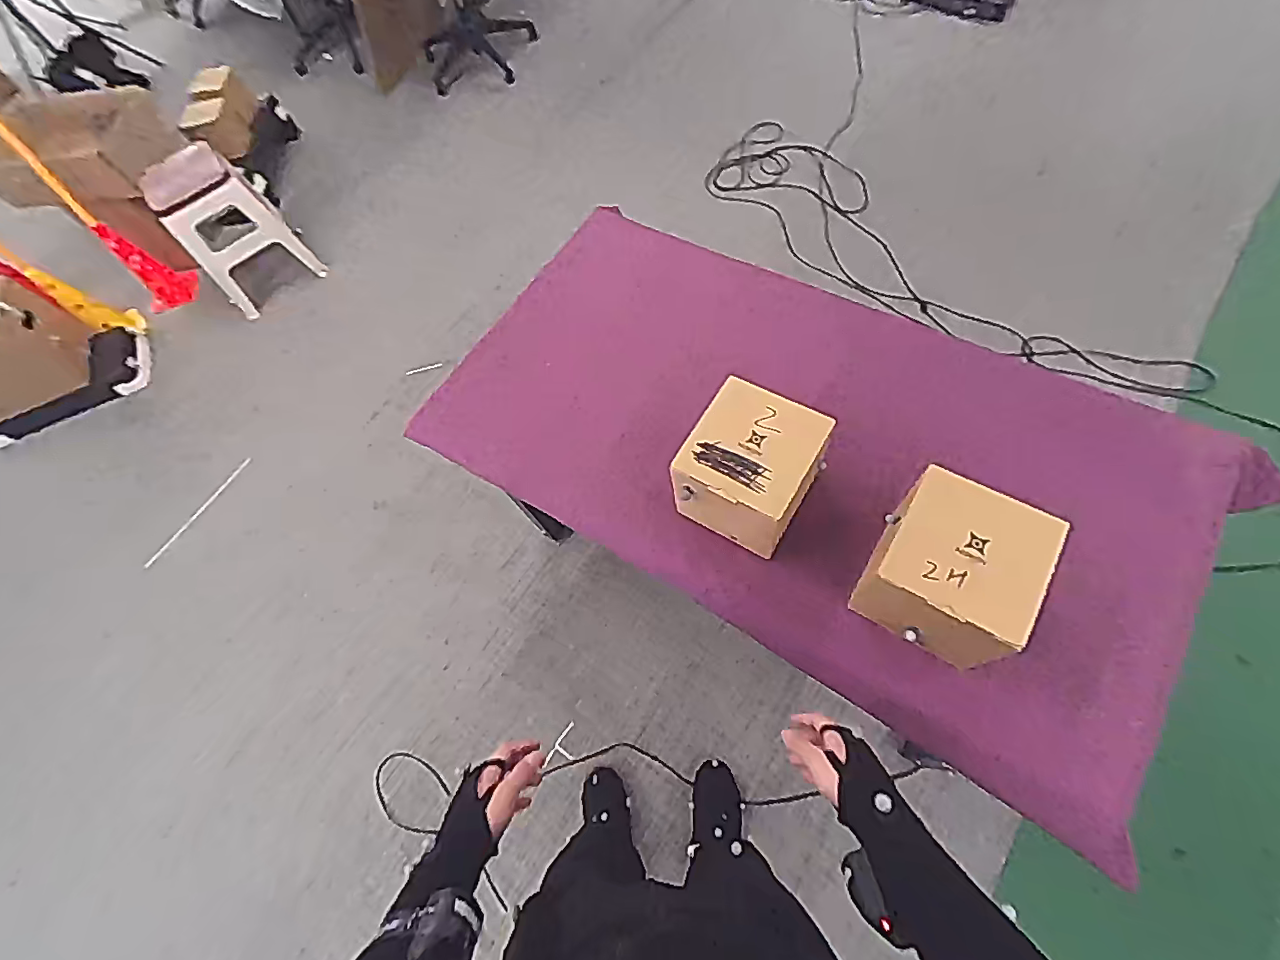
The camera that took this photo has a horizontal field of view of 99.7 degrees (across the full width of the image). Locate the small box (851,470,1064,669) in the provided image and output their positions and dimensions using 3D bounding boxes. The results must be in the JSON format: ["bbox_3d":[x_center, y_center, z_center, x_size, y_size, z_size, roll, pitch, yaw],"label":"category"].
[{"bbox_3d":[0.401,0.123,0.714,0.168,0.176,0.179,29,71,20],"label":"small box"}]
